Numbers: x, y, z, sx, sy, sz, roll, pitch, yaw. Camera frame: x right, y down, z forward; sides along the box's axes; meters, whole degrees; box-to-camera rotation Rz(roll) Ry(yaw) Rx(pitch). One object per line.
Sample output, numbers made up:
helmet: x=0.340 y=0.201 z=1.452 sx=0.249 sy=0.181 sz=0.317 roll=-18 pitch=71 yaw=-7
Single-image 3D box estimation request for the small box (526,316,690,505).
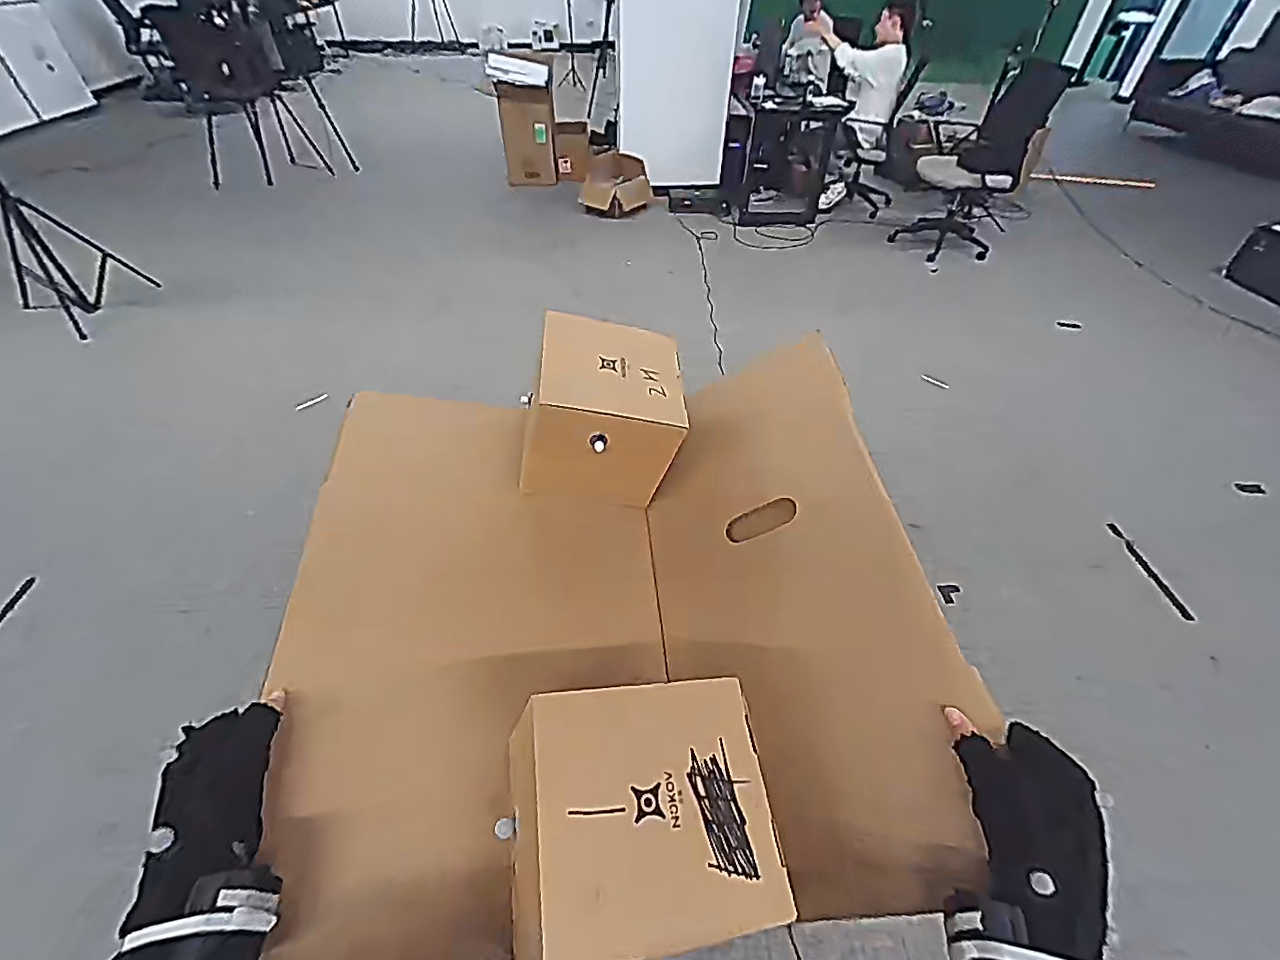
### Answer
small box: x=-0.050 y=-0.083 z=0.712 sx=0.179 sy=0.176 sz=0.168 roll=9 pitch=52 yaw=-15
